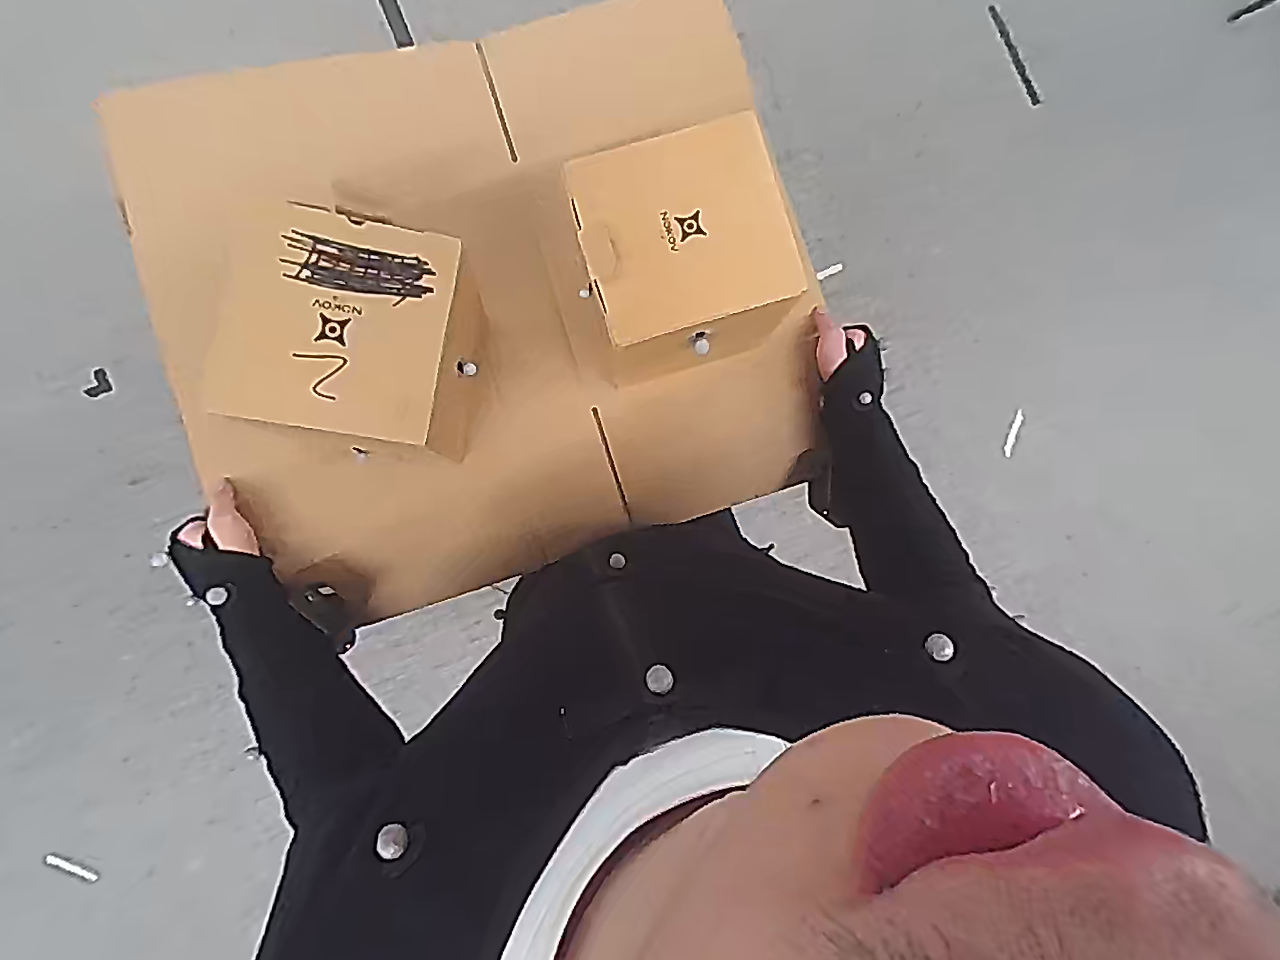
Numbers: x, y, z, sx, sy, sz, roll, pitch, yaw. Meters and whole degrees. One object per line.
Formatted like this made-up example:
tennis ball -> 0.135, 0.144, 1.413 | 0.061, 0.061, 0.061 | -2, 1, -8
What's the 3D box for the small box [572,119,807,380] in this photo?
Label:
small box -> 0.041, -0.216, 0.553 | 0.179, 0.176, 0.168 | -17, 88, -1
